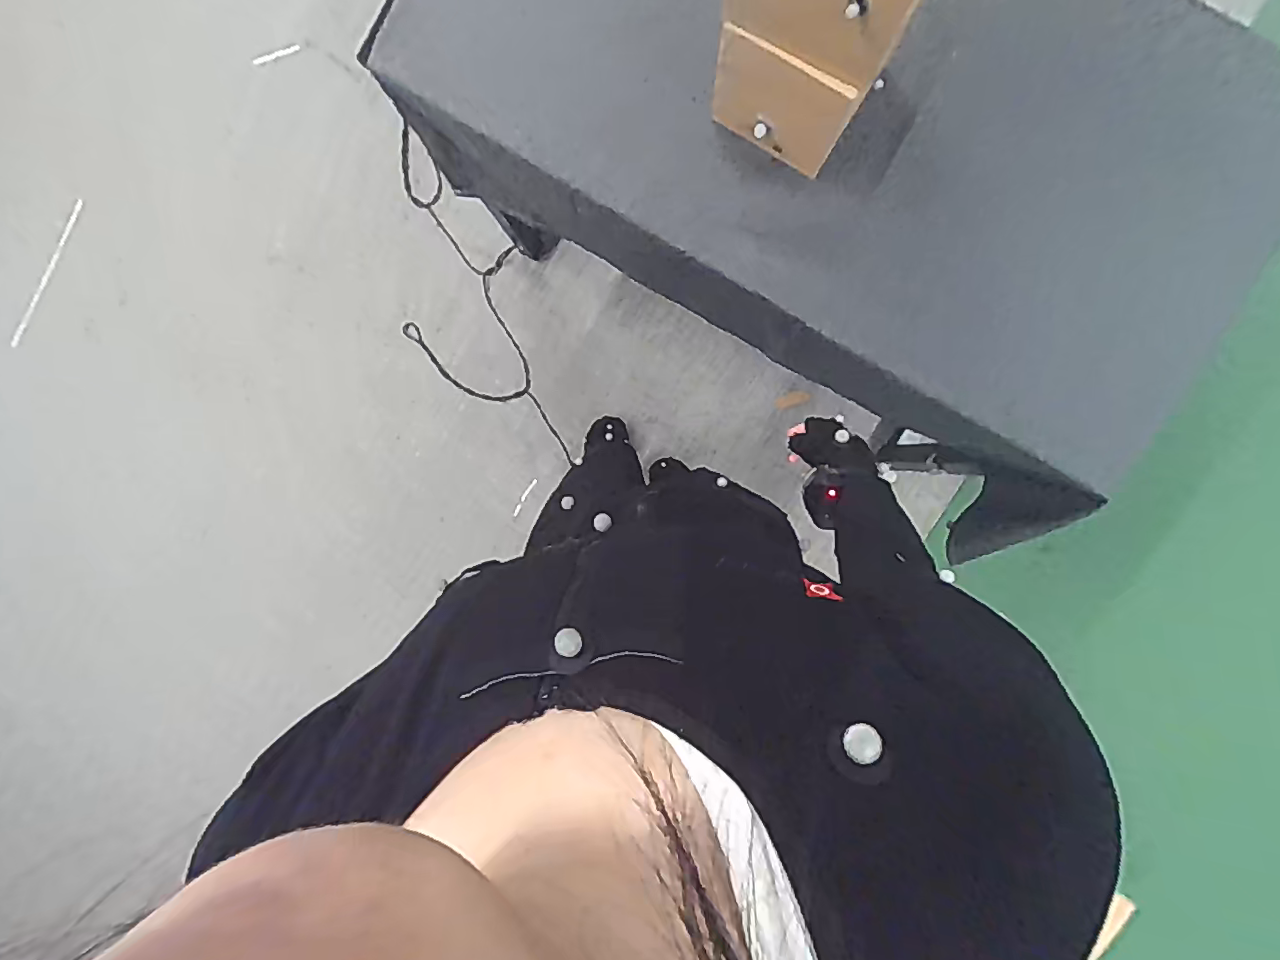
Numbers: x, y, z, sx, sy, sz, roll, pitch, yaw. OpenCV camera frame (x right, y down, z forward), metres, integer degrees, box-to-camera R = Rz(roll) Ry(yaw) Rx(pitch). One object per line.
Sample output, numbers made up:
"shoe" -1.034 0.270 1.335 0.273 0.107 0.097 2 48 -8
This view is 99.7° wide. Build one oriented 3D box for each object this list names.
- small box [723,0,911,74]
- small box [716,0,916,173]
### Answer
"small box" 0.193 -0.520 0.485 0.179 0.176 0.168 29 92 2
"small box" 0.203 -0.520 0.647 0.168 0.176 0.179 32 94 2
